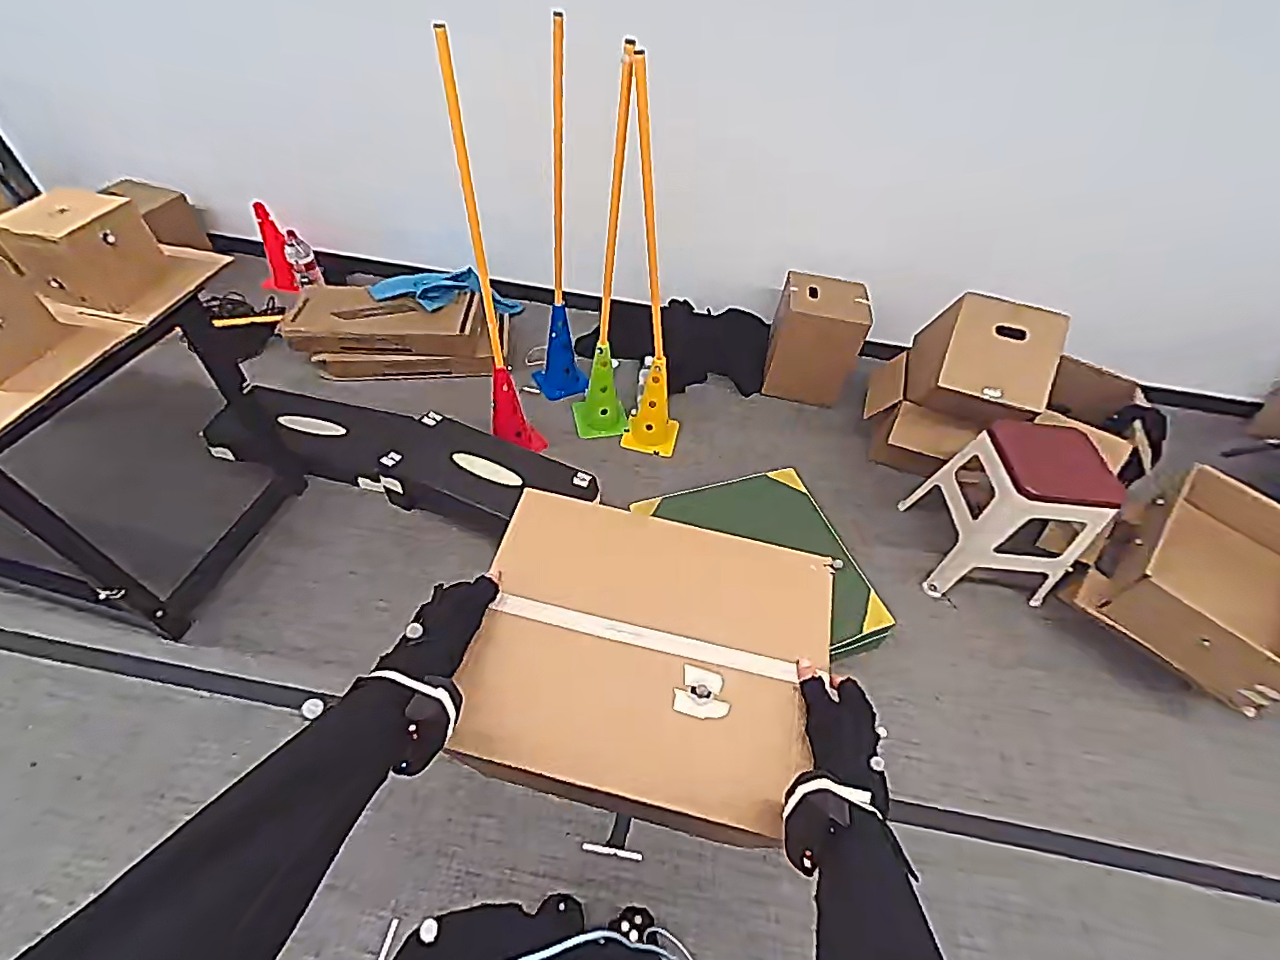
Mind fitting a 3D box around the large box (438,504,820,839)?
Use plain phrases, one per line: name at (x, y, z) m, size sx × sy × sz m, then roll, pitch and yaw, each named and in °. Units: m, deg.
large box at (-0.002, 0.276, 0.755) m, size 0.408 × 0.320 × 0.320 m, roll 13°, pitch 57°, yaw 3°
